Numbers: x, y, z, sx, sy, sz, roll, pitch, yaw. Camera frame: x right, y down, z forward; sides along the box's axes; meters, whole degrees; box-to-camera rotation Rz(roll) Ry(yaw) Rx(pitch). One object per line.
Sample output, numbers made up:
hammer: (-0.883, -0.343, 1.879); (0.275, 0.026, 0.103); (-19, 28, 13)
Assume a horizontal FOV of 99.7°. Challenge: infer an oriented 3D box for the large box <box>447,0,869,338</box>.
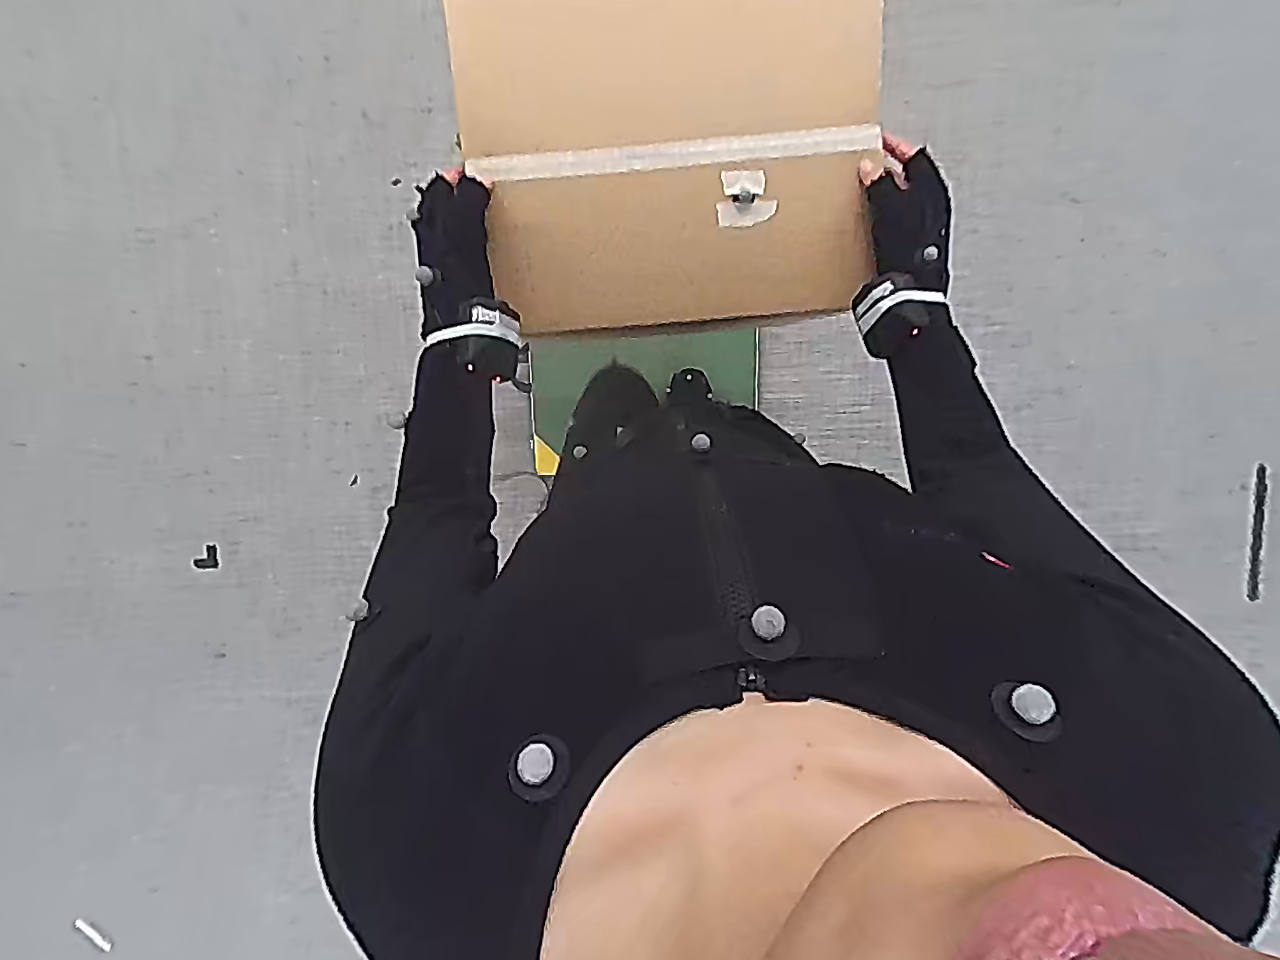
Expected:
large box: (0.024, -0.363, 0.683); (0.408, 0.320, 0.320); (-6, 103, -1)
